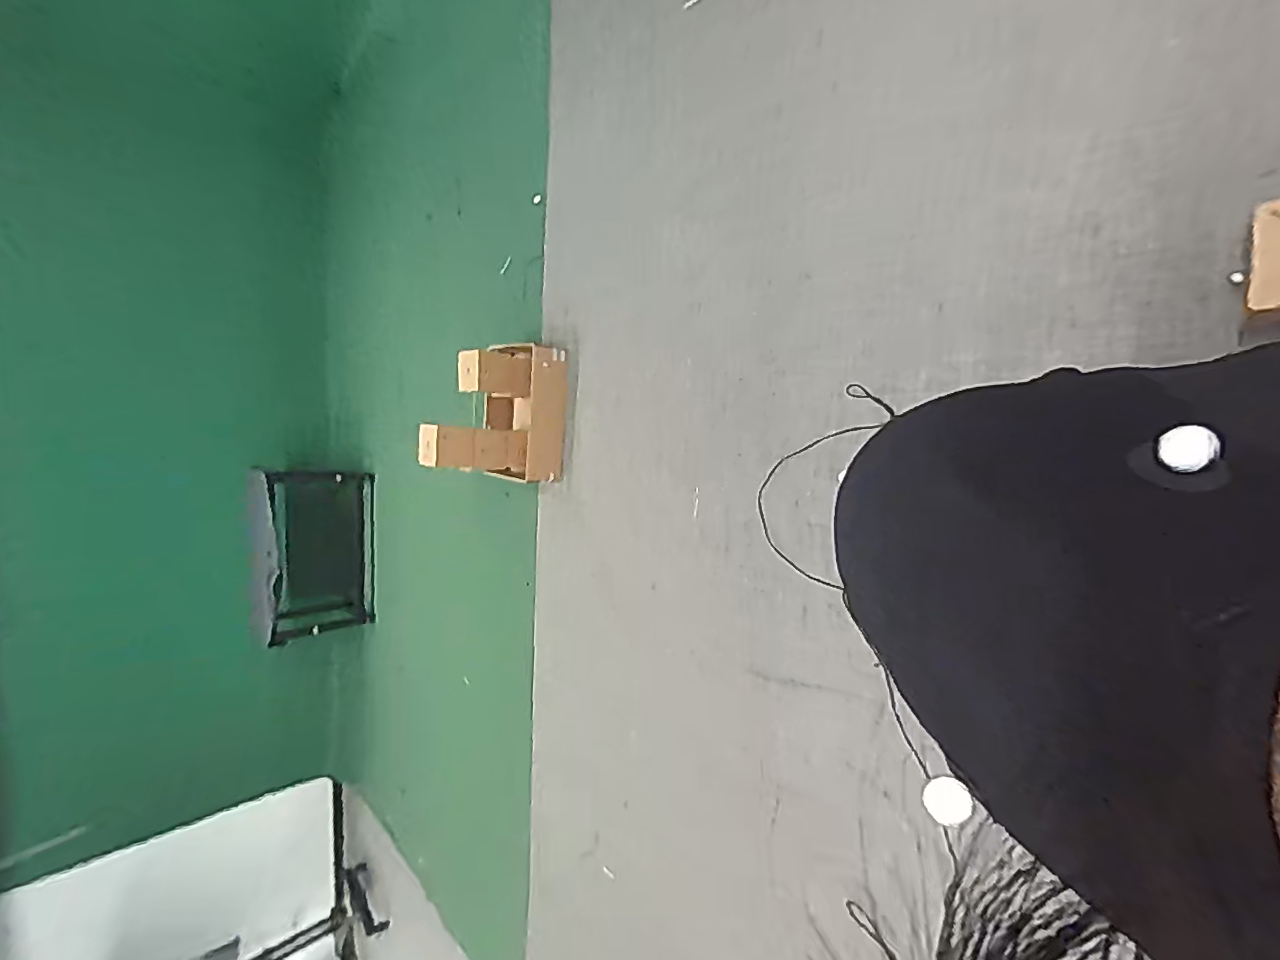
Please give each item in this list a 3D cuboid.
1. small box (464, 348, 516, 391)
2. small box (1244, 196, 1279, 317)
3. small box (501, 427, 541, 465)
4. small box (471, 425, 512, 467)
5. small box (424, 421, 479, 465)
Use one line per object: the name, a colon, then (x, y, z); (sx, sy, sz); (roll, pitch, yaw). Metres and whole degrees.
small box: (-0.665, -0.487, 2.404); (0.168, 0.176, 0.179); (8, 98, 42)
small box: (1.142, -0.378, 0.902); (0.168, 0.176, 0.179); (5, 96, 45)
small box: (-0.588, -0.165, 2.576); (0.179, 0.176, 0.168); (9, 98, 44)
small box: (-0.697, -0.154, 2.453); (0.168, 0.176, 0.179); (10, 98, 43)
small box: (-0.810, -0.160, 2.333); (0.168, 0.176, 0.179); (10, 99, 44)
